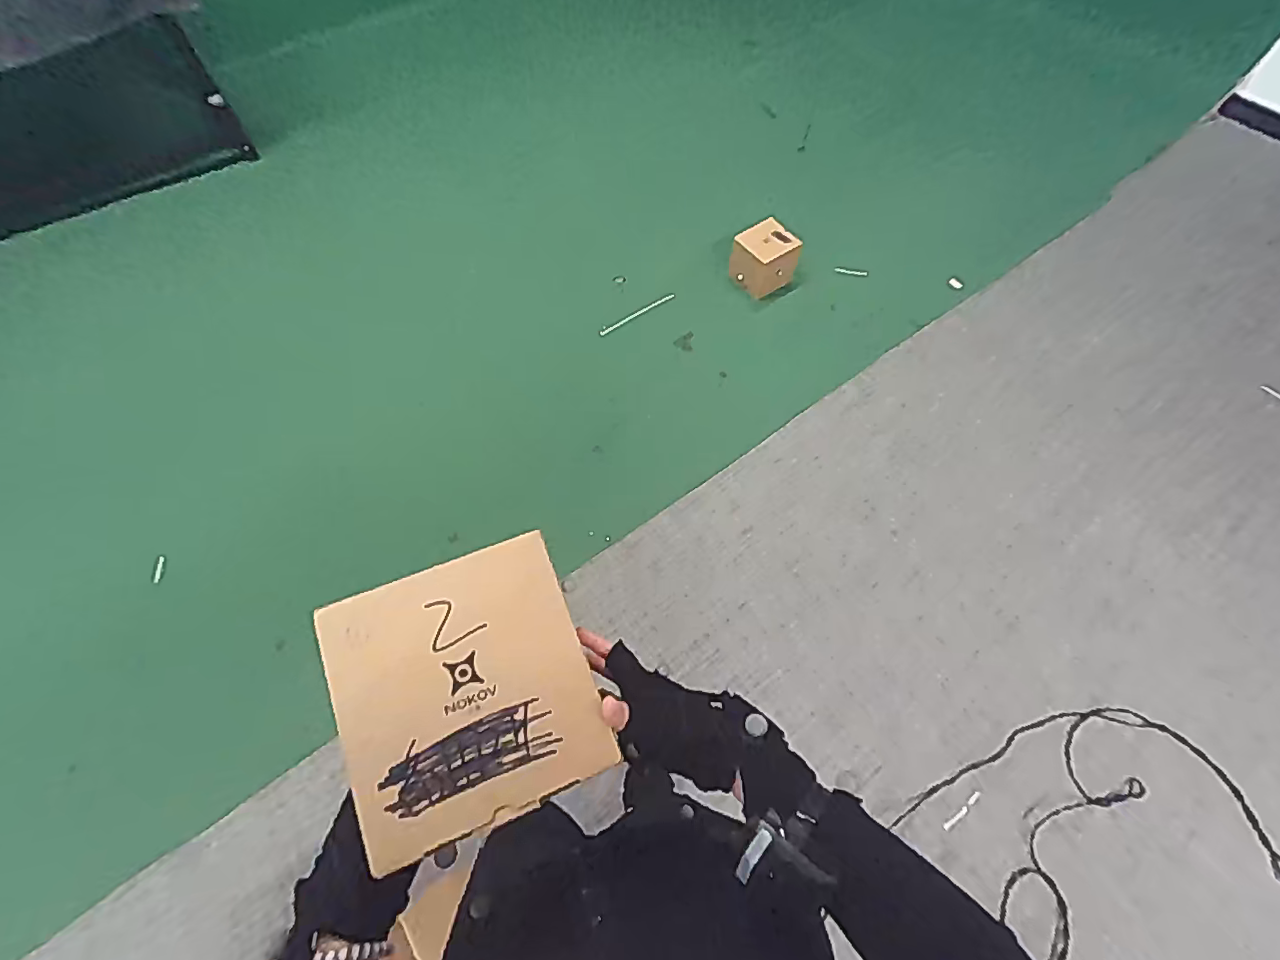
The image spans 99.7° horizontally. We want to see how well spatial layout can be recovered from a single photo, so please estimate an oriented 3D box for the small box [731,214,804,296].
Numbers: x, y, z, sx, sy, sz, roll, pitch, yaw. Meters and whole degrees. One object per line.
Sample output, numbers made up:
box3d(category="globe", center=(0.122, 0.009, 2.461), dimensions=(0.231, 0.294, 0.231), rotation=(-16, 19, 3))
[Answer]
box3d(category="small box", center=(0.439, -0.786, 1.898), dimensions=(0.179, 0.176, 0.168), rotation=(-33, 67, -14))
